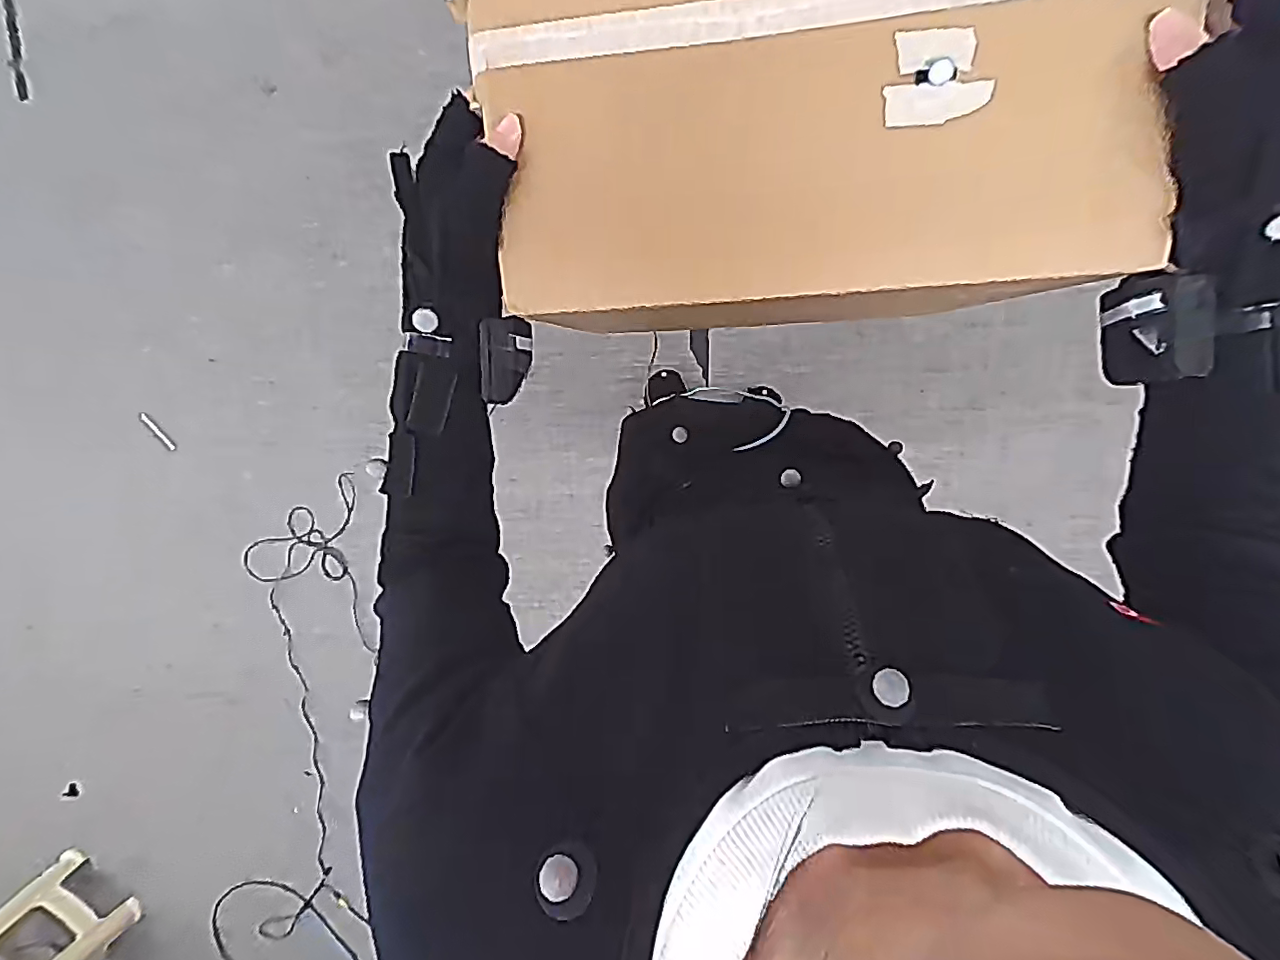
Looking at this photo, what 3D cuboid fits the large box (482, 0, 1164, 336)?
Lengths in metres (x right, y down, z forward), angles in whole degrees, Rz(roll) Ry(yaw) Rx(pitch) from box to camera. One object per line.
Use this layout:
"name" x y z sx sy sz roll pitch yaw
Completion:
"large box" 0.112 -0.307 0.472 0.408 0.320 0.320 -3 103 6
